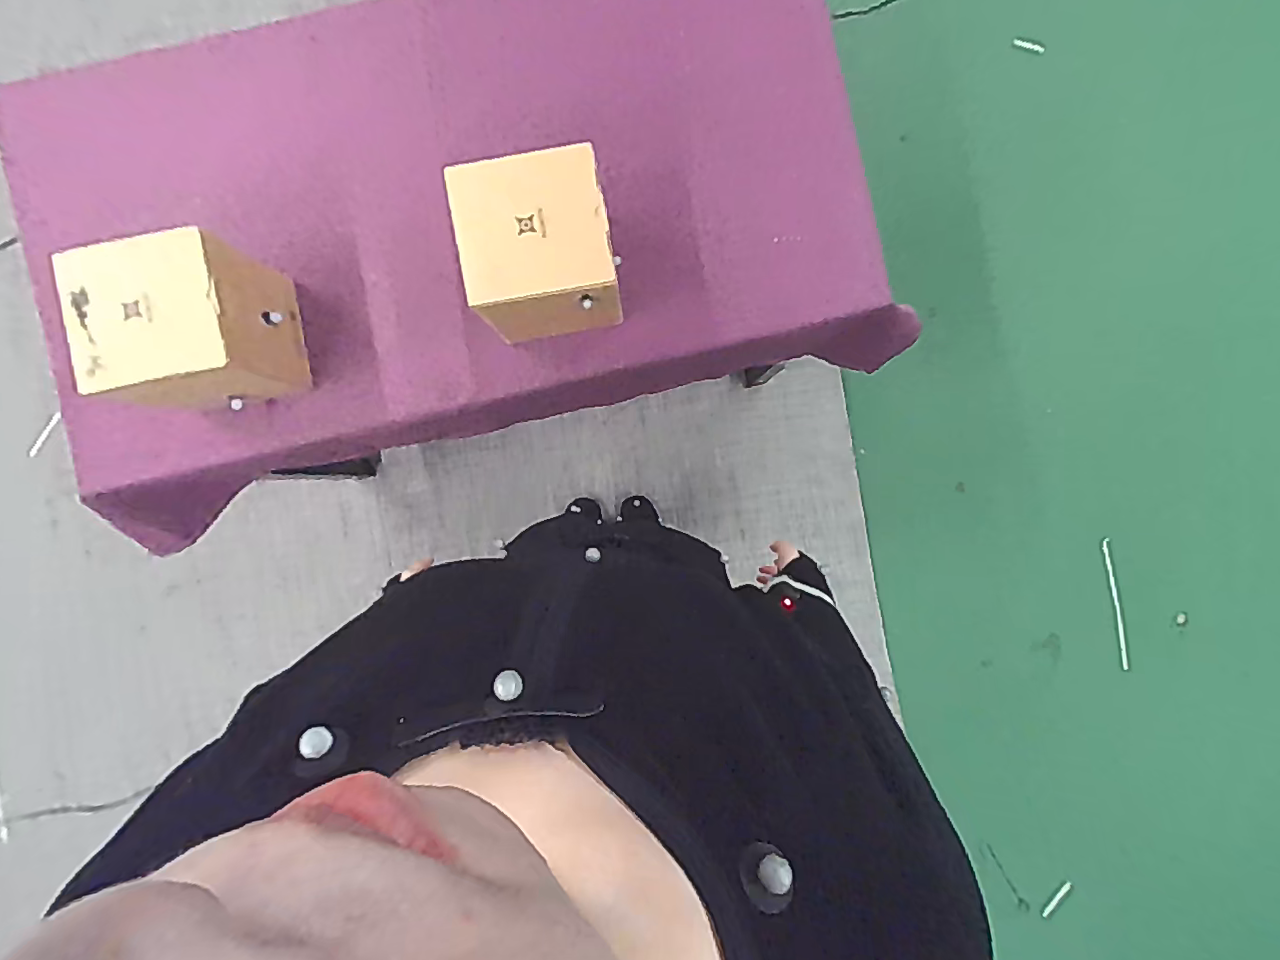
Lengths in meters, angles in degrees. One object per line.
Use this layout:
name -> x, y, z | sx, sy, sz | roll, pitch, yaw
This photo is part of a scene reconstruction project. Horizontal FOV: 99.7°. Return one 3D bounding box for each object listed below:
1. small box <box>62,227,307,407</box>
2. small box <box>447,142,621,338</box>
small box -> -0.567, -0.198, 0.703 | 0.179, 0.176, 0.168 | -11, 90, -1
small box -> -0.125, -0.295, 0.702 | 0.179, 0.176, 0.168 | -10, 90, 0
